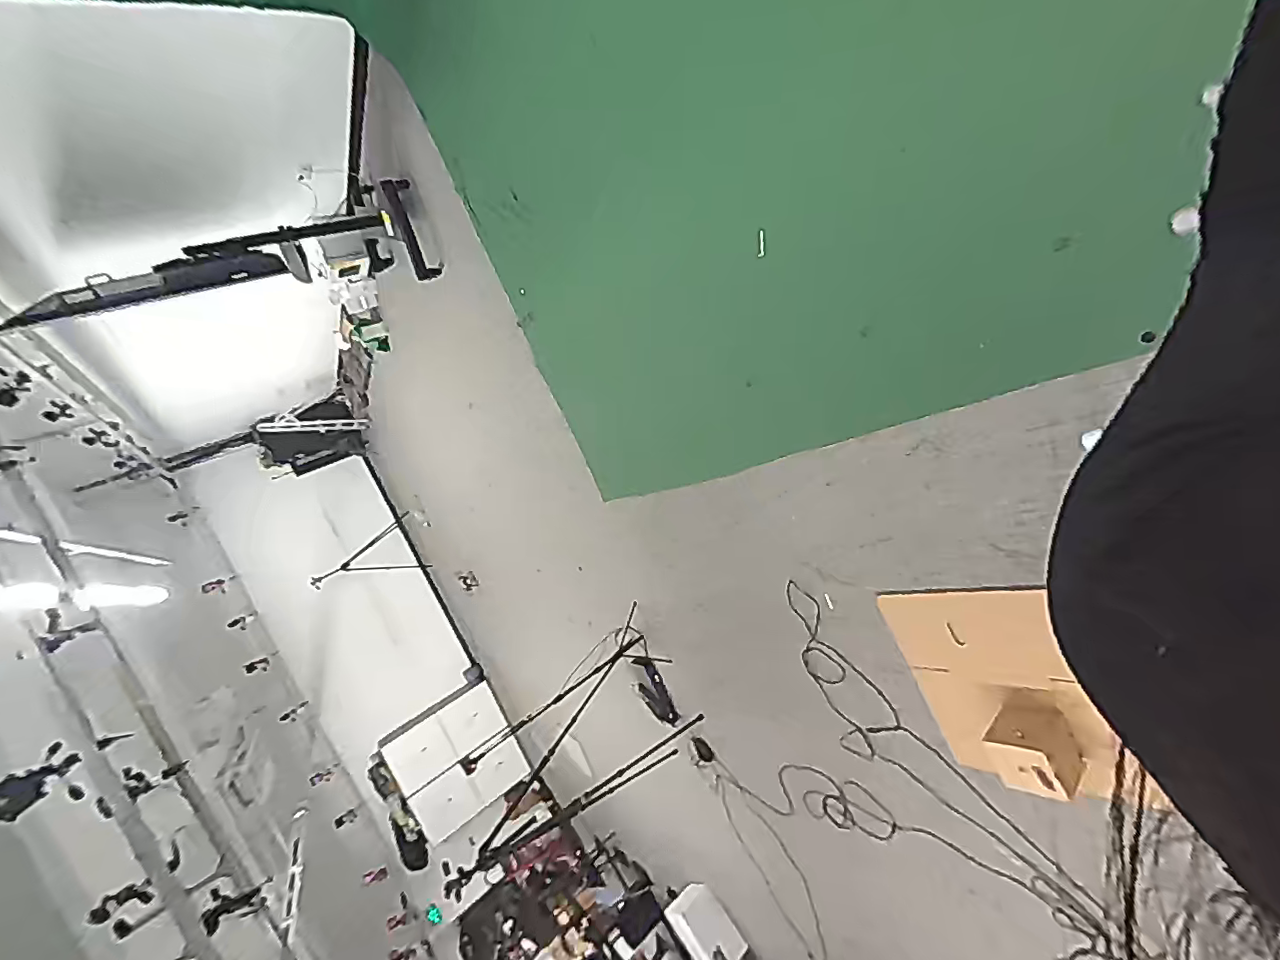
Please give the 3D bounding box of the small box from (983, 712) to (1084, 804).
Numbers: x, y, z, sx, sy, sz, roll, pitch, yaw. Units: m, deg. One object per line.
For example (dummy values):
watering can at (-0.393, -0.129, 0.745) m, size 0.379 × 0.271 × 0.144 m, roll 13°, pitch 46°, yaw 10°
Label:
small box at (1.175, 0.815, 1.606) m, size 0.168 × 0.176 × 0.179 m, roll 62°, pitch 149°, yaw 0°
